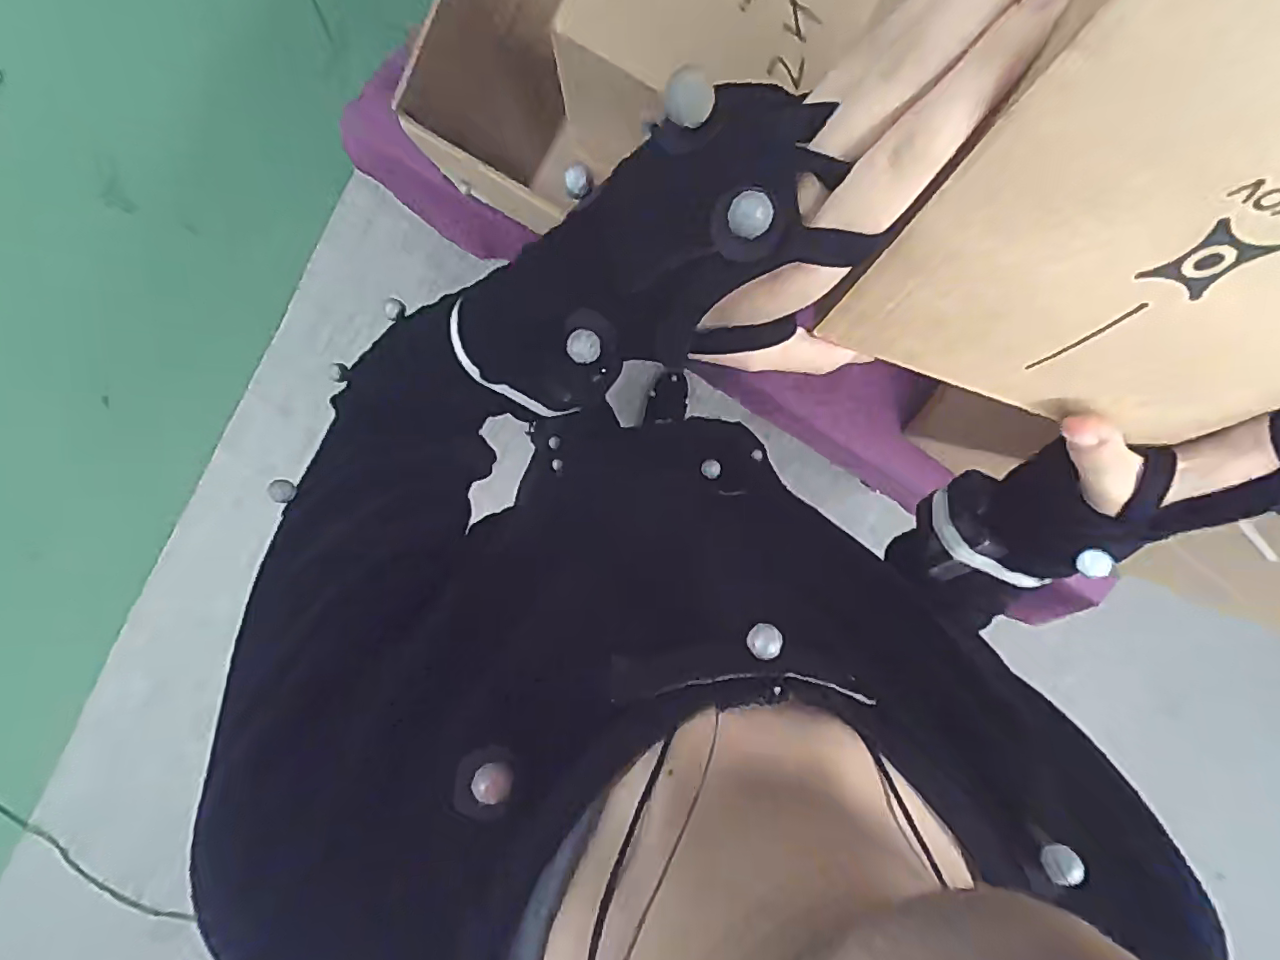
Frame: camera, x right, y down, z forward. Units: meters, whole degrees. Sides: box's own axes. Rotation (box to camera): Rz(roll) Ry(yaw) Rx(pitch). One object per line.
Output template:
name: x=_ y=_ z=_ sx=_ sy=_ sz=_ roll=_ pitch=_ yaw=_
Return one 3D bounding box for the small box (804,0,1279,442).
small box: x=0.177 y=-0.142 z=0.183 sx=0.168 sy=0.179 sz=0.176 roll=17 pitch=67 yaw=-8

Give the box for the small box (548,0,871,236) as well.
small box: x=0.054 y=-0.315 z=0.408 sx=0.179 sy=0.176 sz=0.168 roll=29 pitch=98 yaw=-7
